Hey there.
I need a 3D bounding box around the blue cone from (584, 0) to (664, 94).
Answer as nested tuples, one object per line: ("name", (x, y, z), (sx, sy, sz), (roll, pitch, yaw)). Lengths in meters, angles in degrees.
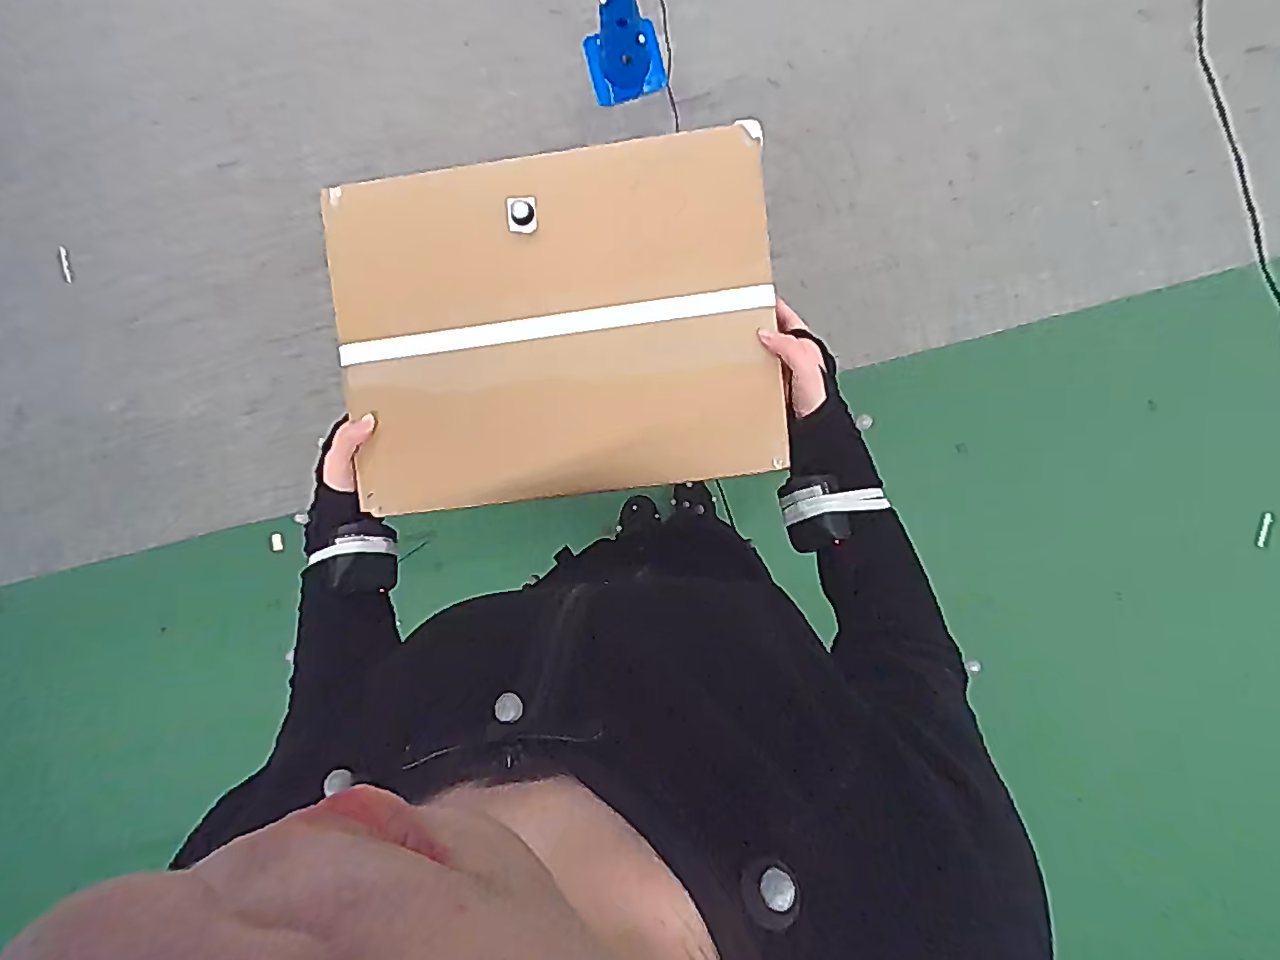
("blue cone", (-0.056, -1.147, 1.294), (0.193, 0.380, 0.192), (-17, 90, 5))
